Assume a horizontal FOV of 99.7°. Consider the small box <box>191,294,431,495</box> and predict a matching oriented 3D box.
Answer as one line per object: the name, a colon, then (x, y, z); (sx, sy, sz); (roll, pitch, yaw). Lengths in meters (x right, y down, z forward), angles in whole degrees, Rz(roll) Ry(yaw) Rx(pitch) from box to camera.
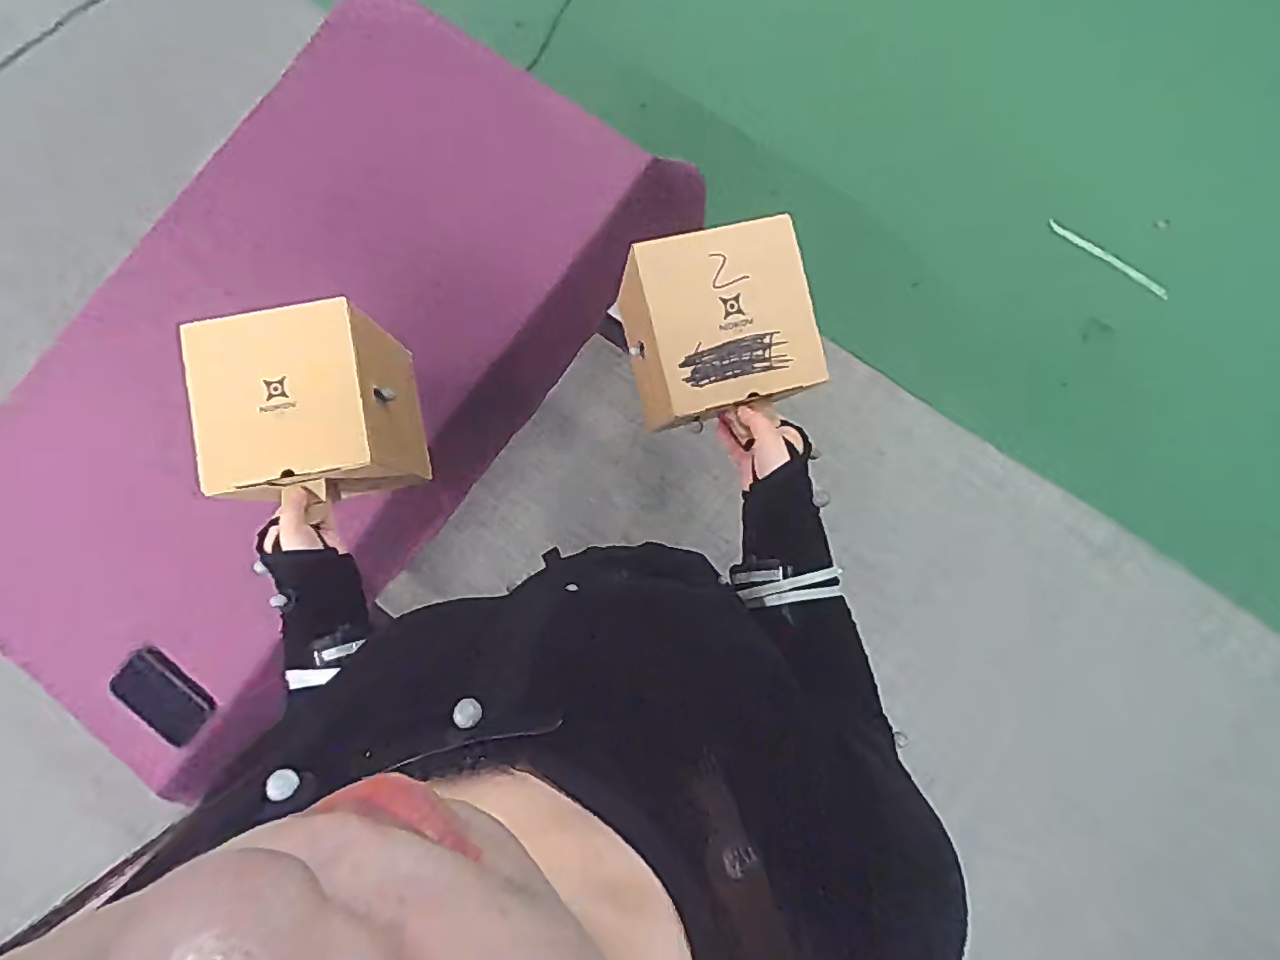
small box: (-0.354, -0.084, 0.612); (0.168, 0.176, 0.179); (-10, 86, -4)
